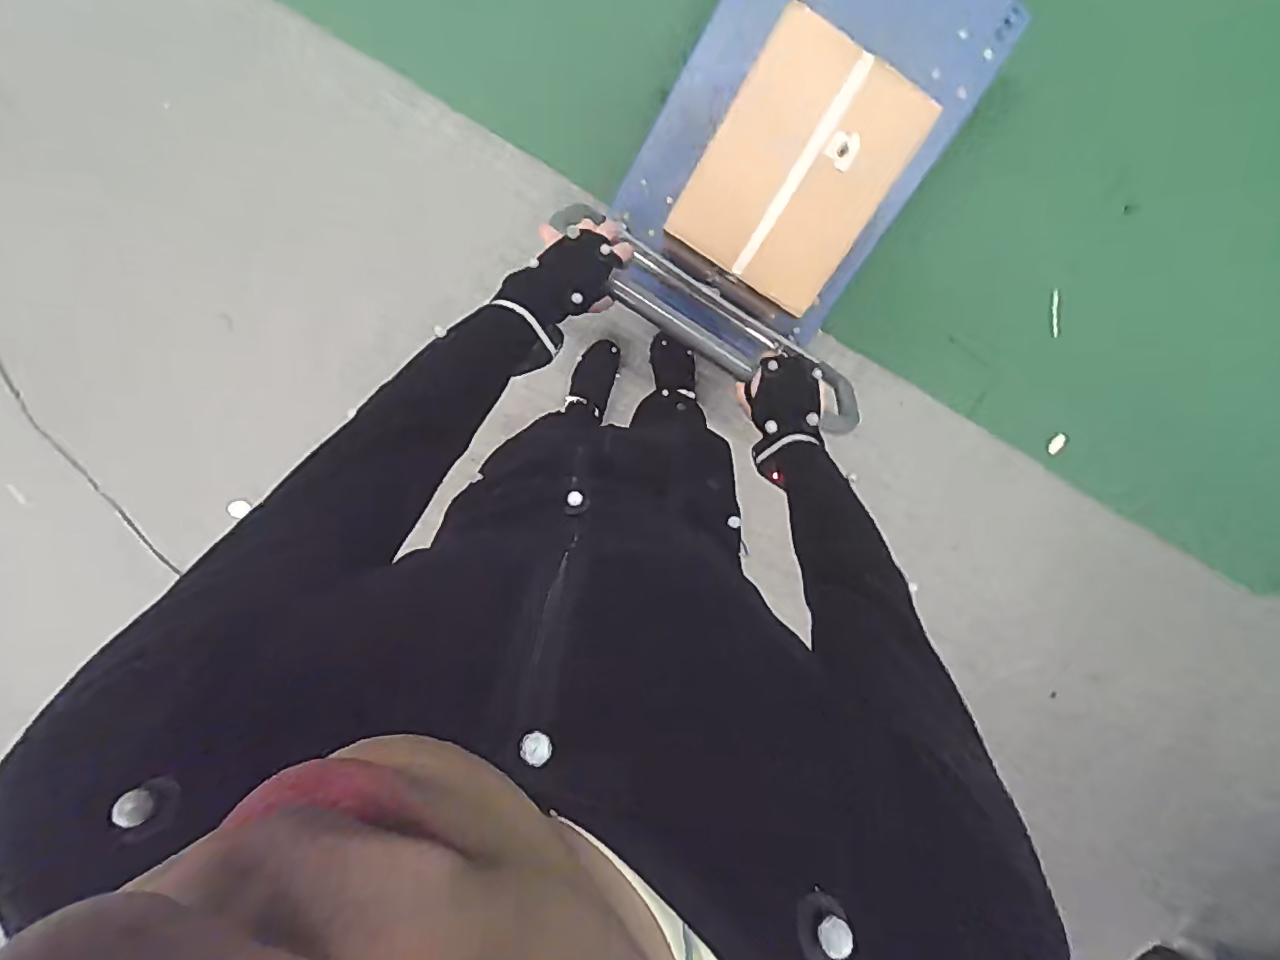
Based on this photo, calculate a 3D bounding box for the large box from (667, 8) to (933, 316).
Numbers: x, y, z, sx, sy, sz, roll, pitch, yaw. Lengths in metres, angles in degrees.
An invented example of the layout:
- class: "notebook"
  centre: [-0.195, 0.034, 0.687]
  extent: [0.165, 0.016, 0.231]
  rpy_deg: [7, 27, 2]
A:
- class: "large box"
  centre: [0.285, -0.591, 1.109]
  extent: [0.320, 0.320, 0.408]
  rpy_deg: [31, 107, -7]
